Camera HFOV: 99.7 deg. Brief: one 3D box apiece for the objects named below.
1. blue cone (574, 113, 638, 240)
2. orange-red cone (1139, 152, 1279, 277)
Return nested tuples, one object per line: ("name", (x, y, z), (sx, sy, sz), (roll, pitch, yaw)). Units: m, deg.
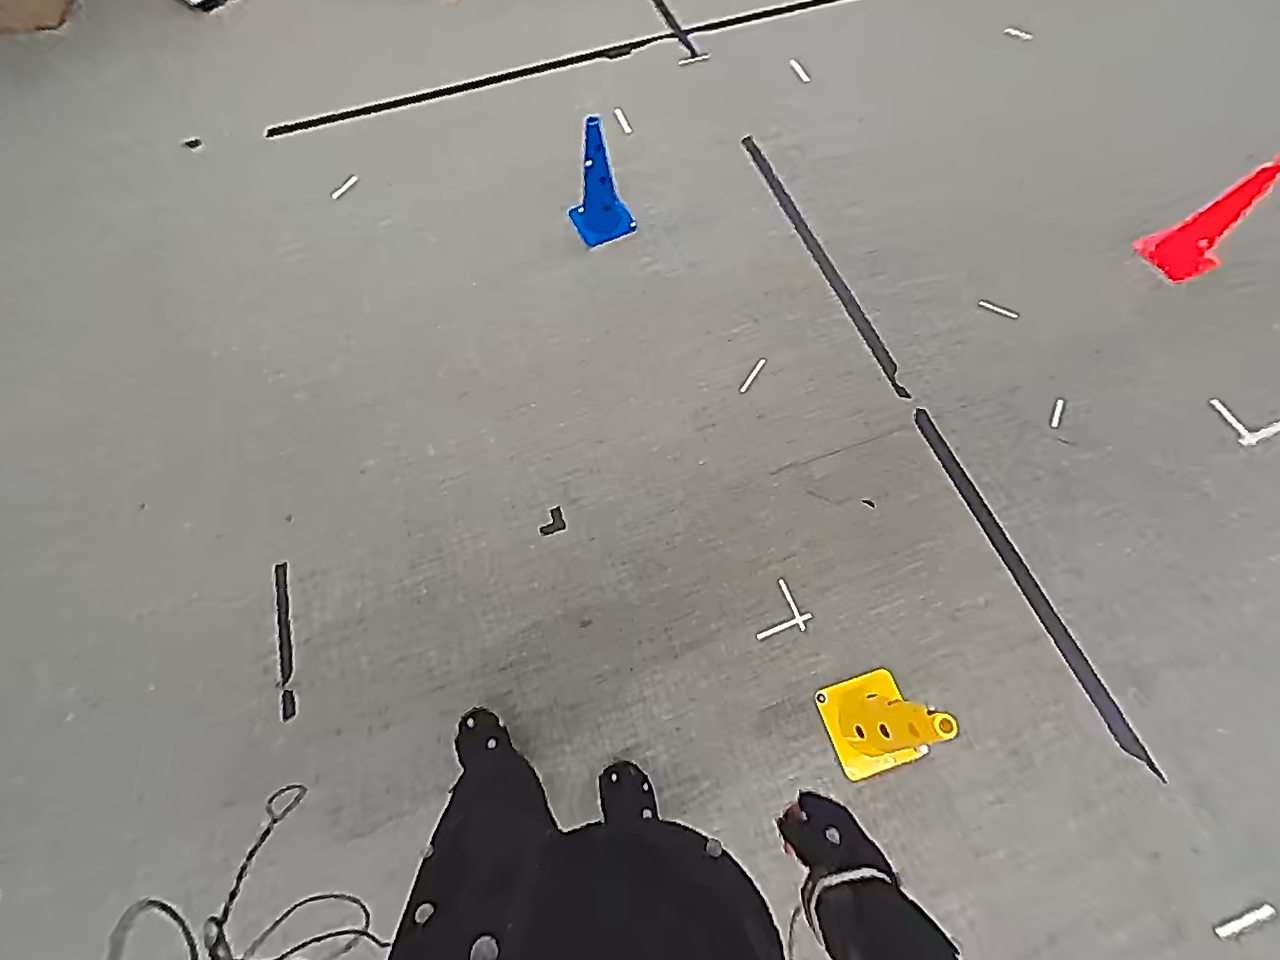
("blue cone", (-0.128, -1.001, 1.769), (0.192, 0.380, 0.193), (-23, 68, -9))
("orange-red cone", (1.822, -0.849, 1.677), (0.198, 0.360, 0.199), (-22, 67, -9))
